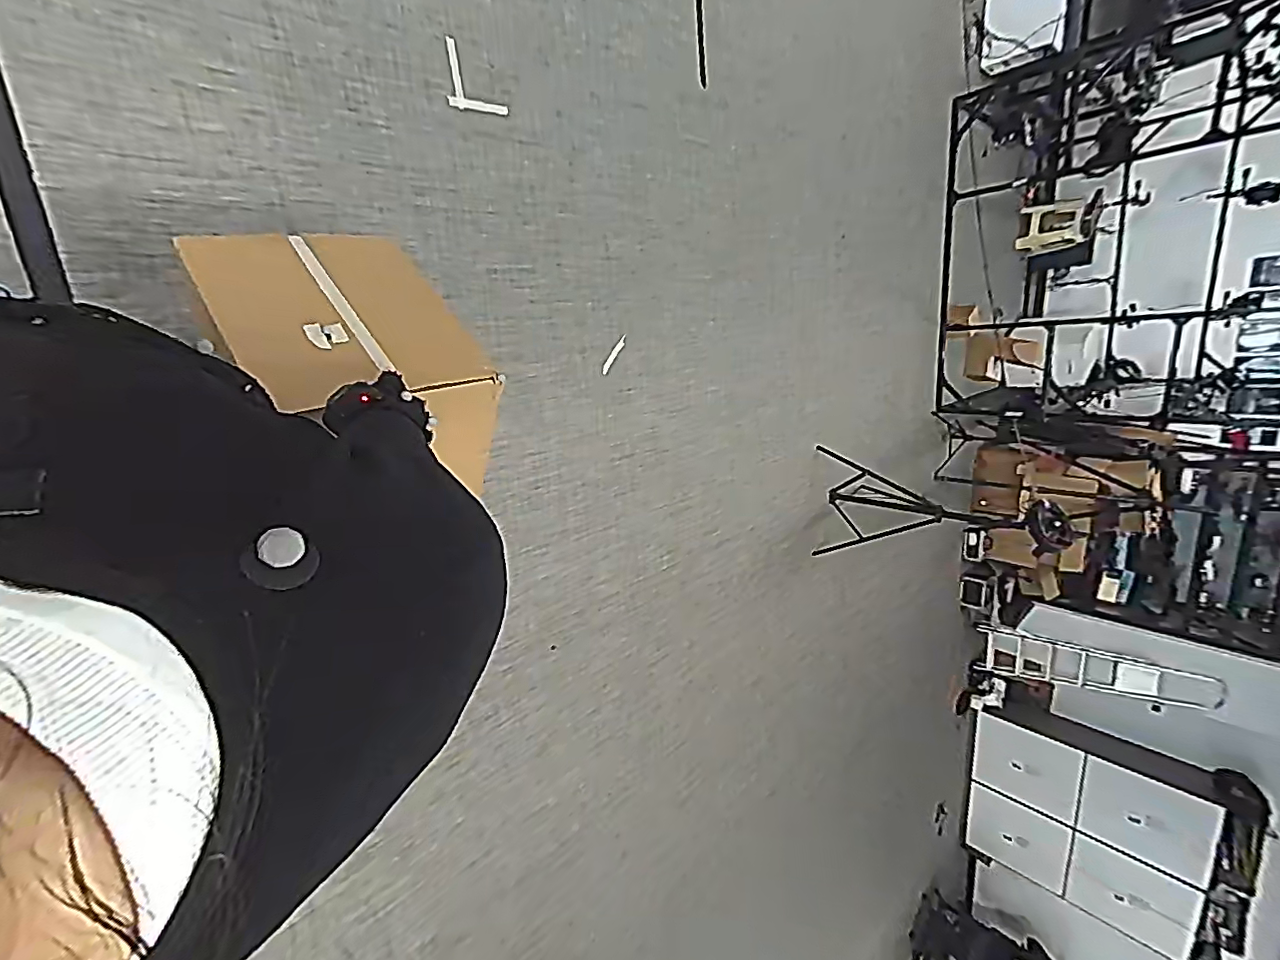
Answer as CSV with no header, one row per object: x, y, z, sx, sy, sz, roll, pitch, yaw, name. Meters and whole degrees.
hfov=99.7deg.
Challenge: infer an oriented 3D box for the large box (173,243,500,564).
-0.495,-0.142,0.900,0.320,0.408,0.320,-22,151,-40,large box
